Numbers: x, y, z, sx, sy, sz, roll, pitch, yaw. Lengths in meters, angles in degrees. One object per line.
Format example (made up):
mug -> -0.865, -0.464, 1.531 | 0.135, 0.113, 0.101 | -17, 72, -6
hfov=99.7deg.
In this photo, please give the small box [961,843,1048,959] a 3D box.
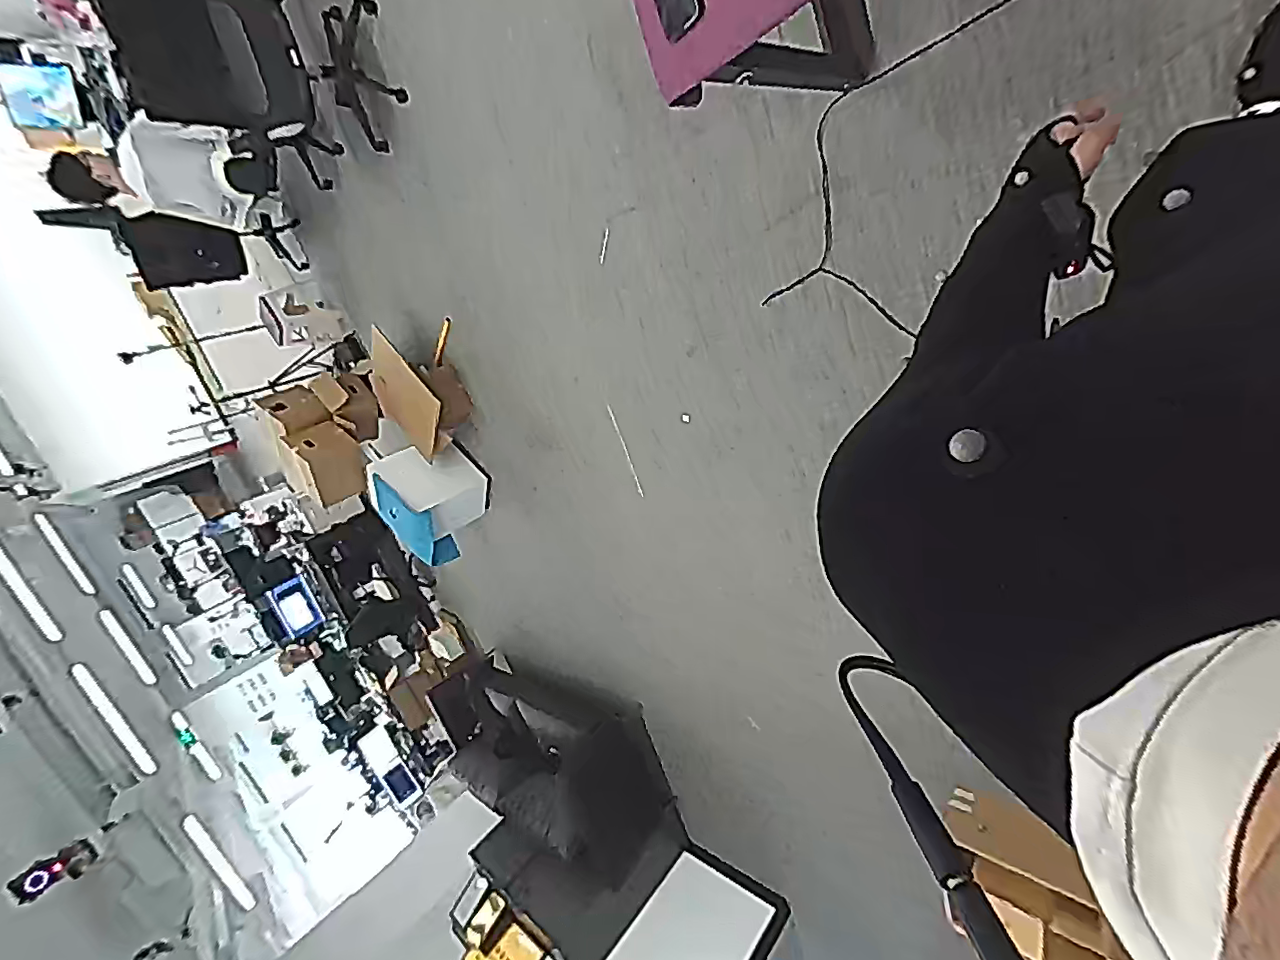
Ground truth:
small box -> 0.986, 1.142, 1.459 | 0.168, 0.176, 0.179 | 5, 117, 45
